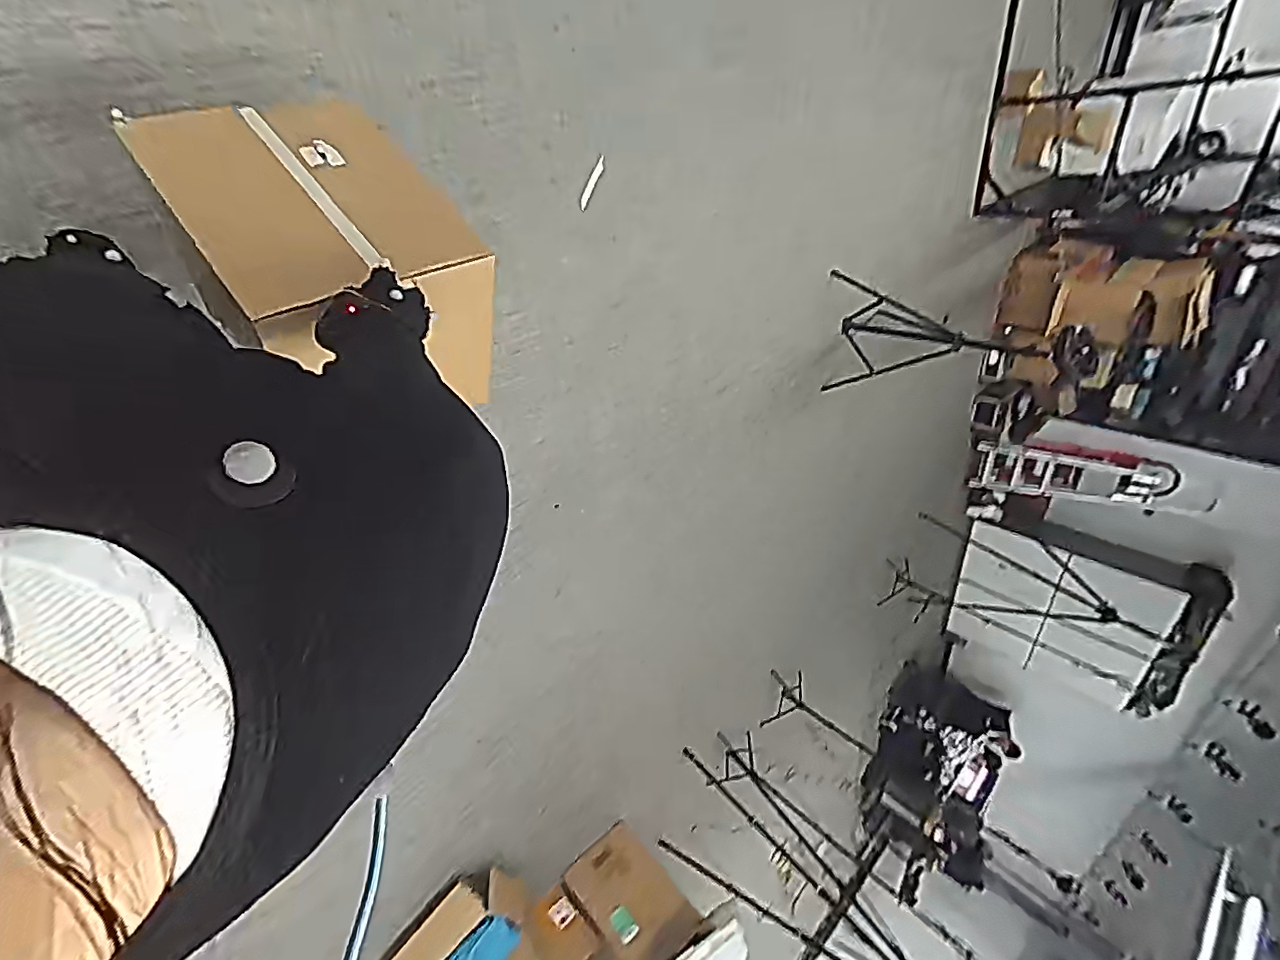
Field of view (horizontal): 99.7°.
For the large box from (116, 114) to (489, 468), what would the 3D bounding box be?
[{"bbox_3d":[-0.487,-0.299,0.859,0.320,0.408,0.320,-33,162,-33],"label":"large box"}]
